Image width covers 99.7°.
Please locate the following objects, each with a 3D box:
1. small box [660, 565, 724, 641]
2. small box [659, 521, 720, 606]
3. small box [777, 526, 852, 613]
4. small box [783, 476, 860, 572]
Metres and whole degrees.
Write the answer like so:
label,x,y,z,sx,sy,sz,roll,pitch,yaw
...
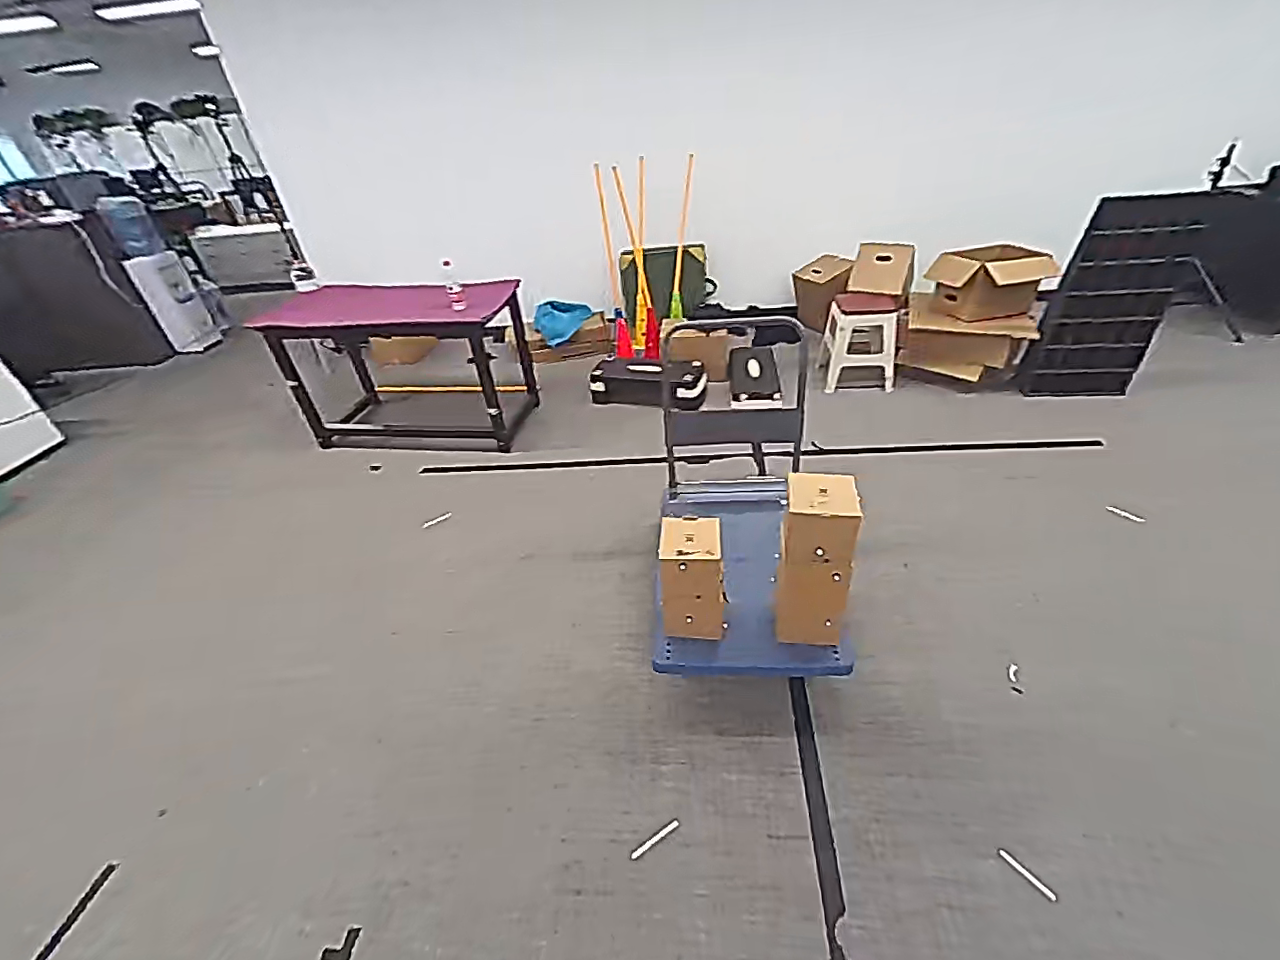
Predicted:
label,x,y,z,sx,sy,sz,roll,pitch,yaw
small box,0.162,0.369,1.636,0.179,0.176,0.168,1,35,10
small box,0.145,0.235,1.542,0.168,0.176,0.179,0,35,8
small box,0.471,0.246,1.486,0.179,0.176,0.168,3,36,10
small box,0.460,0.110,1.394,0.168,0.176,0.179,3,36,12
